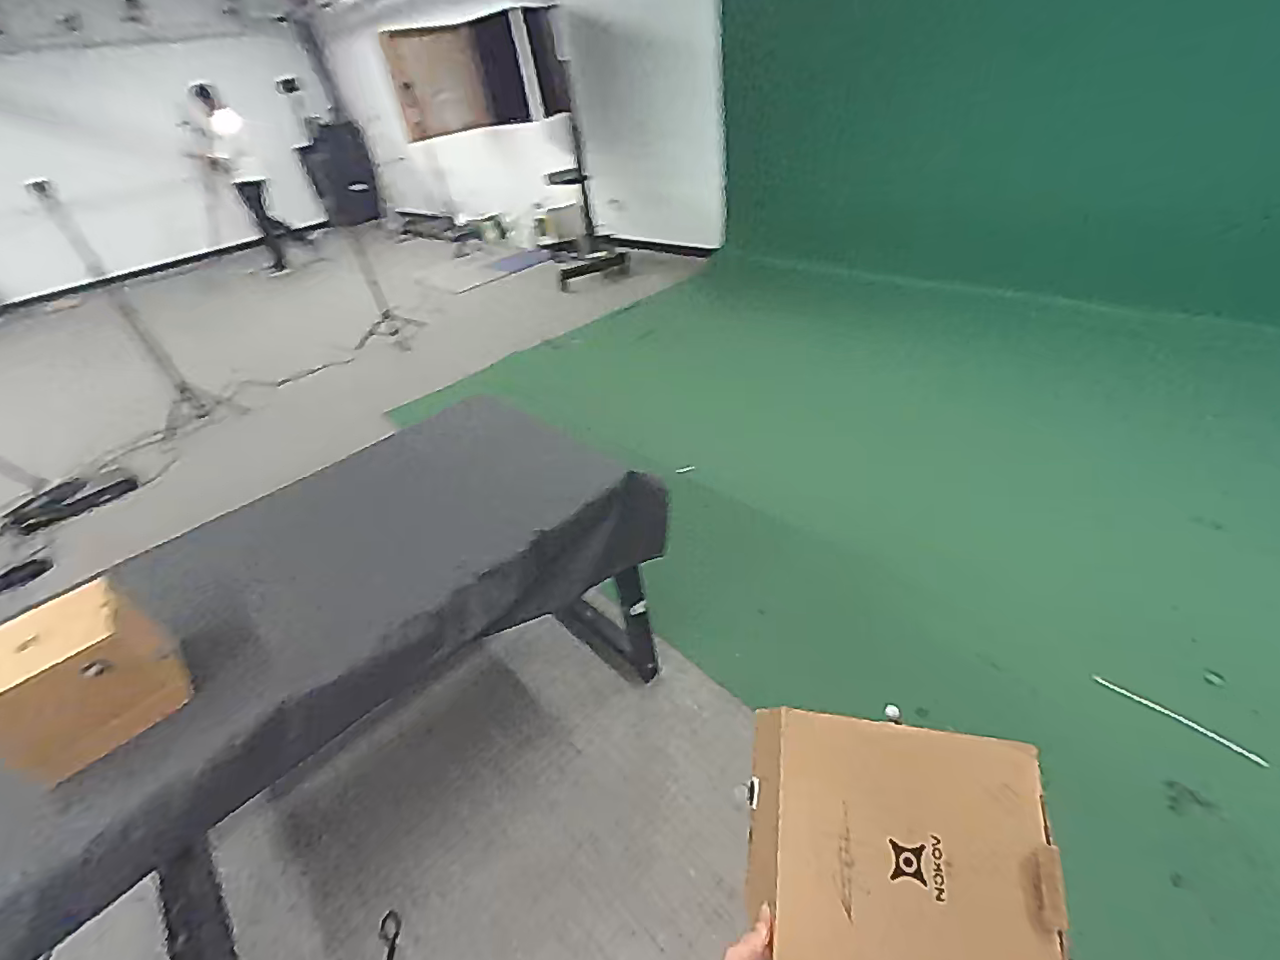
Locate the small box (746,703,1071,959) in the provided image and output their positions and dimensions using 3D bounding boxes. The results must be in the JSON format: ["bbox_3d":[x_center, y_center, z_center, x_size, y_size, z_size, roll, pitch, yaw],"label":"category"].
[{"bbox_3d":[0.184,0.275,0.421,0.179,0.176,0.168,5,65,7],"label":"small box"}]

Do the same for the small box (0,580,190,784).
[{"bbox_3d":[-0.801,0.285,0.771,0.179,0.176,0.168,-35,43,-31],"label":"small box"}]
